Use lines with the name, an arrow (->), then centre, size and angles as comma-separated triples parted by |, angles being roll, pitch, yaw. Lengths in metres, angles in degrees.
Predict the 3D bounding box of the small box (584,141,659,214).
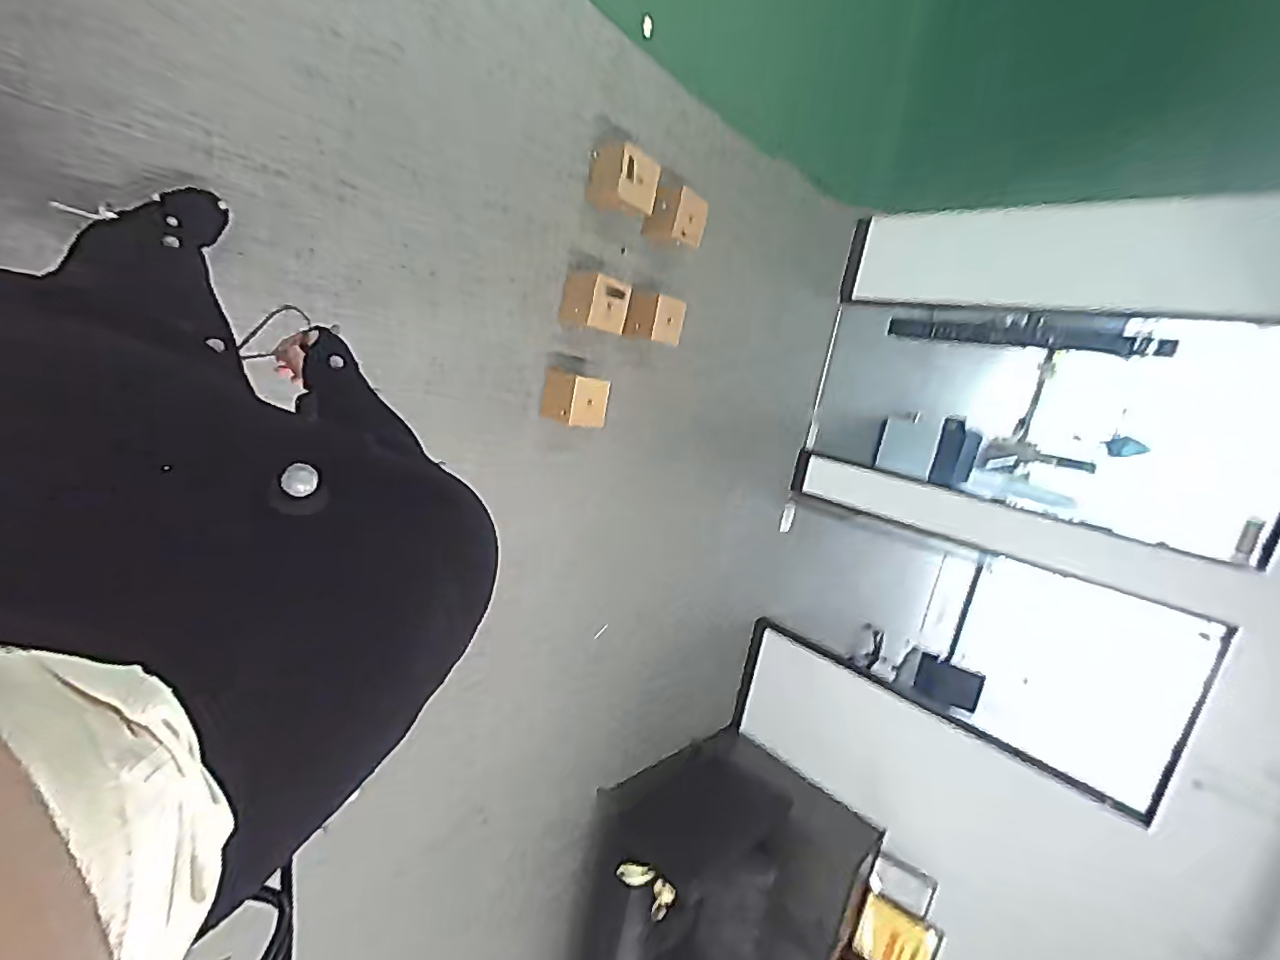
small box -> -0.067, -1.025, 1.853 | 0.179, 0.176, 0.168 | 1, 105, -48

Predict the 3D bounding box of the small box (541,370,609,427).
small box -> -0.241, -0.297, 1.970 | 0.168, 0.176, 0.179 | -2, 108, -47

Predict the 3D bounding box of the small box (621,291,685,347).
small box -> 0.047, -0.637, 2.135 | 0.168, 0.176, 0.179 | 0, 105, -48

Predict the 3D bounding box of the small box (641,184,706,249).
small box -> 0.125, -1.001, 2.069 | 0.168, 0.176, 0.179 | 4, 102, -47
